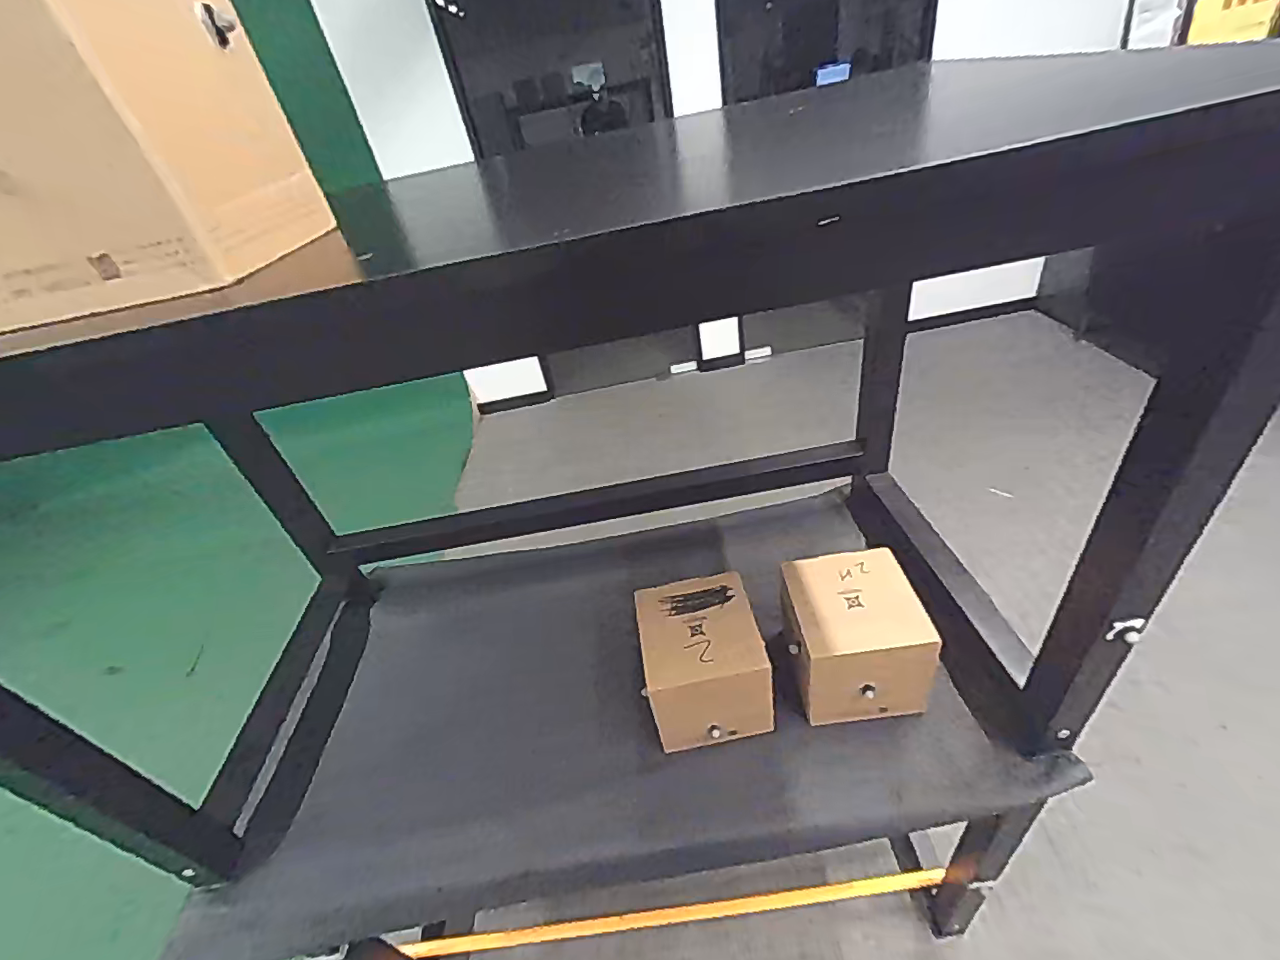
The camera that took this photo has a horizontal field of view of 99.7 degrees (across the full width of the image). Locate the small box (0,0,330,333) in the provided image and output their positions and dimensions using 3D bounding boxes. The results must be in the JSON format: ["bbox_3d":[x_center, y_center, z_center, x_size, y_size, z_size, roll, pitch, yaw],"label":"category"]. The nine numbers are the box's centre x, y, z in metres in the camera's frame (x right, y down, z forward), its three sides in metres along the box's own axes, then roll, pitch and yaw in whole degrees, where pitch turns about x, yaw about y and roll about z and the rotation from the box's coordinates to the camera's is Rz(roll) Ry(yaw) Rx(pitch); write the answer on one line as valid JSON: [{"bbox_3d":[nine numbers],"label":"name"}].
[{"bbox_3d":[-0.350,-0.210,0.362,0.168,0.176,0.179,-10,35,4],"label":"small box"}]
